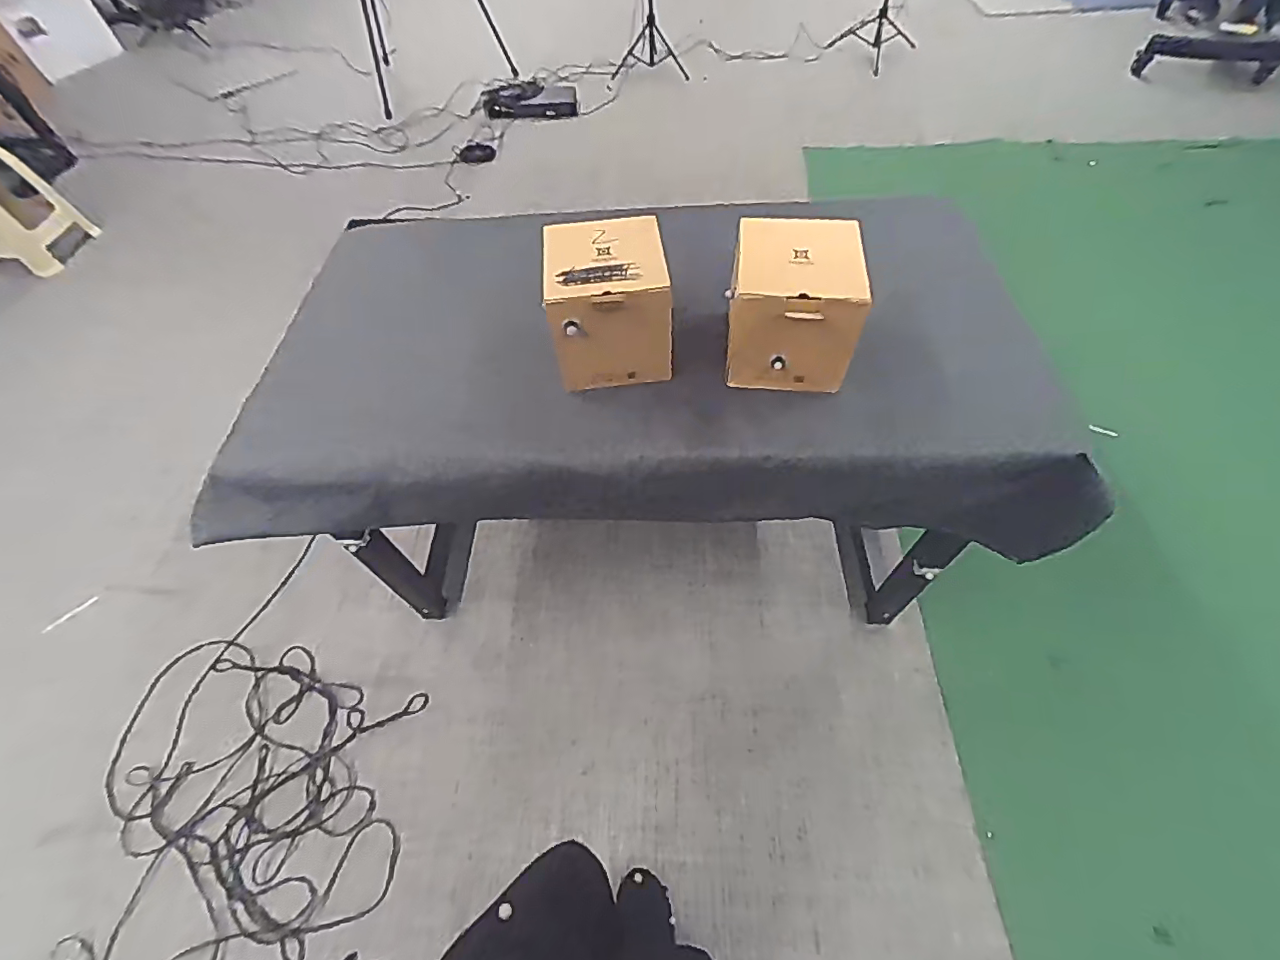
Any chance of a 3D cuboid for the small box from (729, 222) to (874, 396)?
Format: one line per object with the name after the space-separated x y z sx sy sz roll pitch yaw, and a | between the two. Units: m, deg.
0.222 -0.248 0.789 0.168 0.176 0.179 5 57 6 | small box
